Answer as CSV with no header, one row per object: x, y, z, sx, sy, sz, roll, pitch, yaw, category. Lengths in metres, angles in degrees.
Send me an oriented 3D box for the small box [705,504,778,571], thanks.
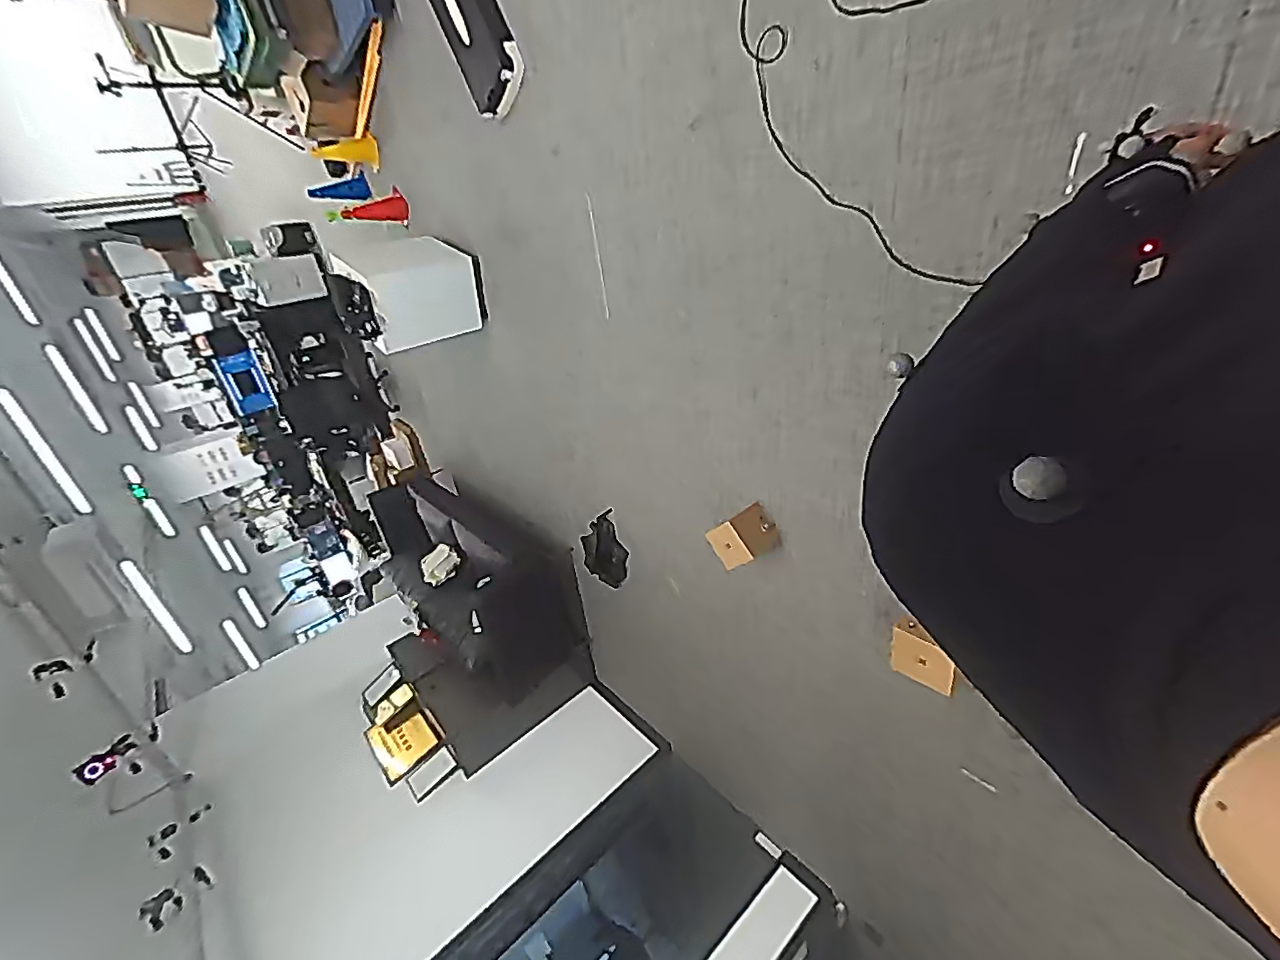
0.386,0.216,2.043,0.168,0.176,0.179,56,147,7,small box

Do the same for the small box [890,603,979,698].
0.859,0.488,1.578,0.179,0.176,0.168,22,130,47,small box
